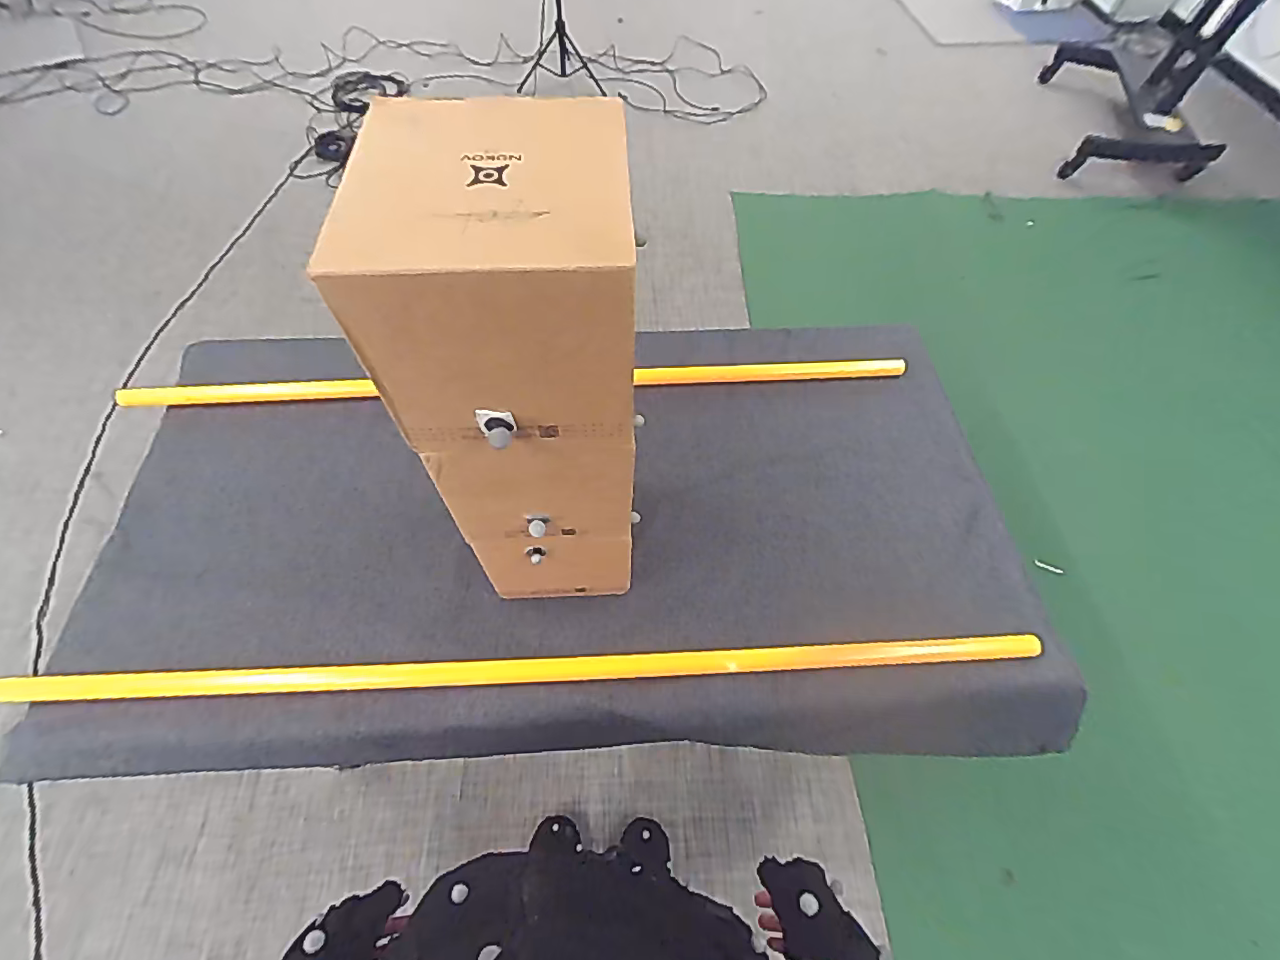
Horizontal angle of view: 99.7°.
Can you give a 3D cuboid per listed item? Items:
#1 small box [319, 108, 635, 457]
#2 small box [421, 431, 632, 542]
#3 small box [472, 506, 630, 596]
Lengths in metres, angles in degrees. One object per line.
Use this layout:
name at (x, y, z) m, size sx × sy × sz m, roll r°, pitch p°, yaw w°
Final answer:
small box at (-0.092, -0.136, 0.392) m, size 0.168 × 0.176 × 0.179 m, roll -3°, pitch 60°, yaw -3°
small box at (-0.096, -0.054, 0.531) m, size 0.168 × 0.176 × 0.179 m, roll -2°, pitch 59°, yaw -4°
small box at (-0.099, 0.030, 0.672) m, size 0.168 × 0.176 × 0.179 m, roll -2°, pitch 58°, yaw -3°
